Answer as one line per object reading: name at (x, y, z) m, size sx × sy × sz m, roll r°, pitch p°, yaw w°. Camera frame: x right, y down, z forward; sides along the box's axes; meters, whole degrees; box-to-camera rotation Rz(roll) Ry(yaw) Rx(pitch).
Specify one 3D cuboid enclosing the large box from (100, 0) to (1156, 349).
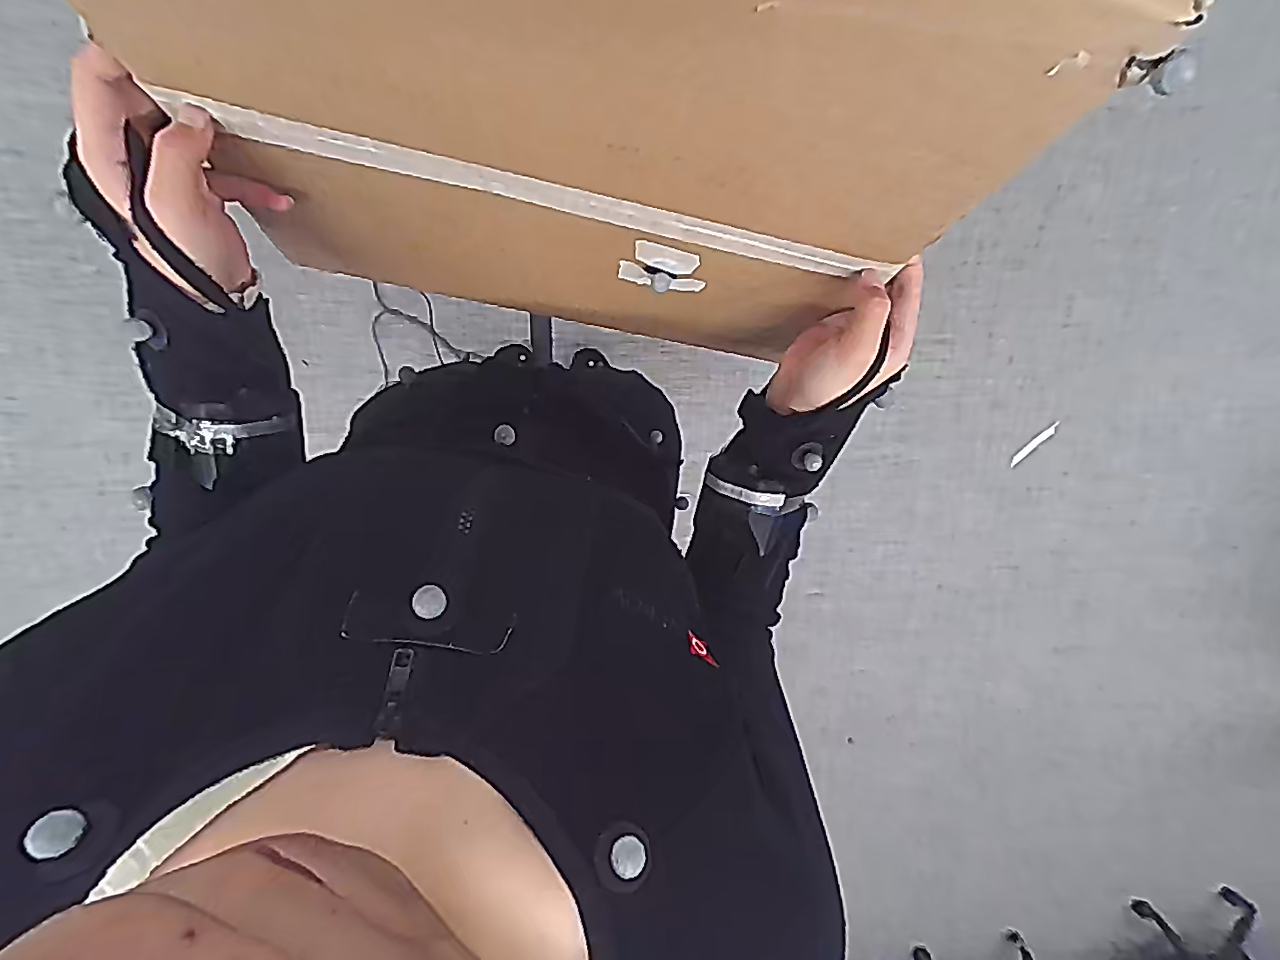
large box at (-0.025, -0.313, 0.328) m, size 0.408 × 0.320 × 0.320 m, roll 8°, pitch 81°, yaw -9°
